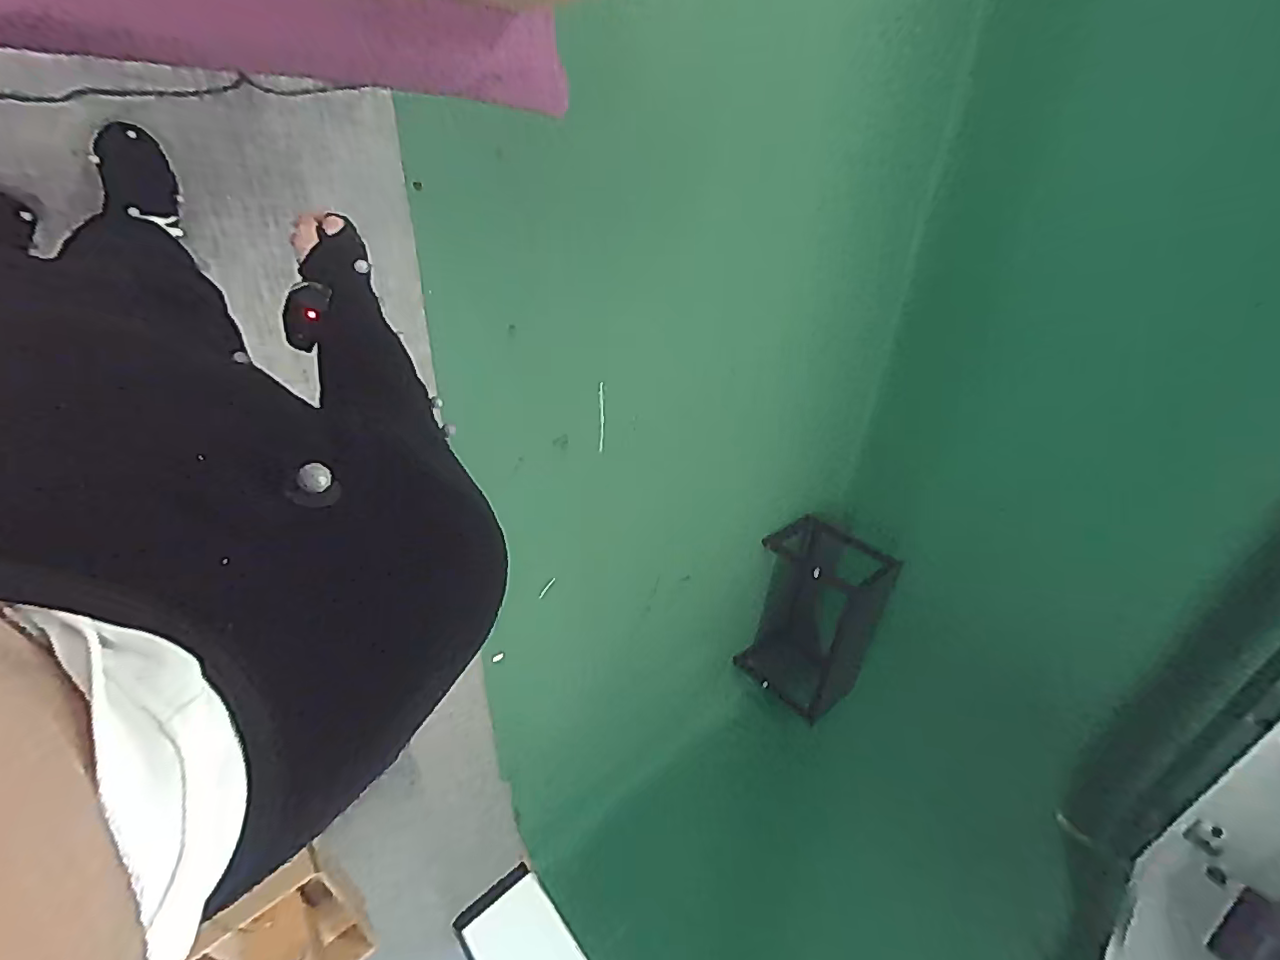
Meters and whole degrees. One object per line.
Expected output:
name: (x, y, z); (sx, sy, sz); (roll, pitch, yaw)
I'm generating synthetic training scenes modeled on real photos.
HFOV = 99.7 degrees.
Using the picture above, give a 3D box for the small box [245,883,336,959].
small box: (-1.029, 1.348, 1.597); (0.168, 0.176, 0.179); (-27, 133, -34)

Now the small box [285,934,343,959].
small box: (-0.919, 1.419, 1.498); (0.168, 0.176, 0.179); (-28, 135, -32)
